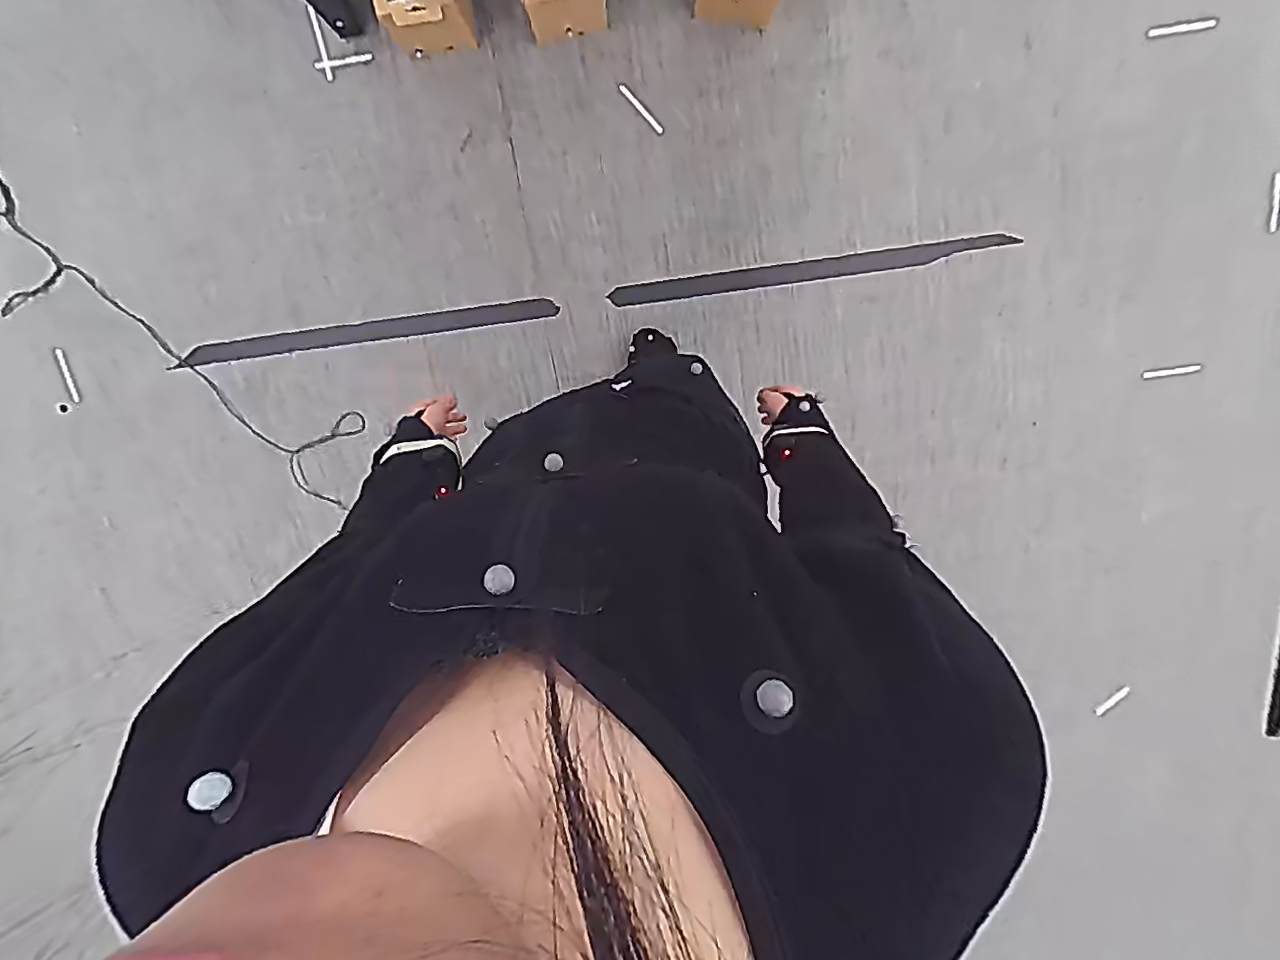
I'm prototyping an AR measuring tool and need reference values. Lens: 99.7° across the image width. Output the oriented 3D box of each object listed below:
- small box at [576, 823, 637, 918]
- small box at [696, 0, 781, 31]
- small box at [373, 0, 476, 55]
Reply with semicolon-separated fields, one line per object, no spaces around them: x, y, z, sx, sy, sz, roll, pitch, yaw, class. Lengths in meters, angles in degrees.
-0.102;1.244;1.729;0.168;0.176;0.179;-9;105;2;small box
0.225;-1.107;1.155;0.179;0.176;0.168;8;104;-1;small box
-0.465;-1.049;1.157;0.168;0.176;0.179;-7;103;1;small box
